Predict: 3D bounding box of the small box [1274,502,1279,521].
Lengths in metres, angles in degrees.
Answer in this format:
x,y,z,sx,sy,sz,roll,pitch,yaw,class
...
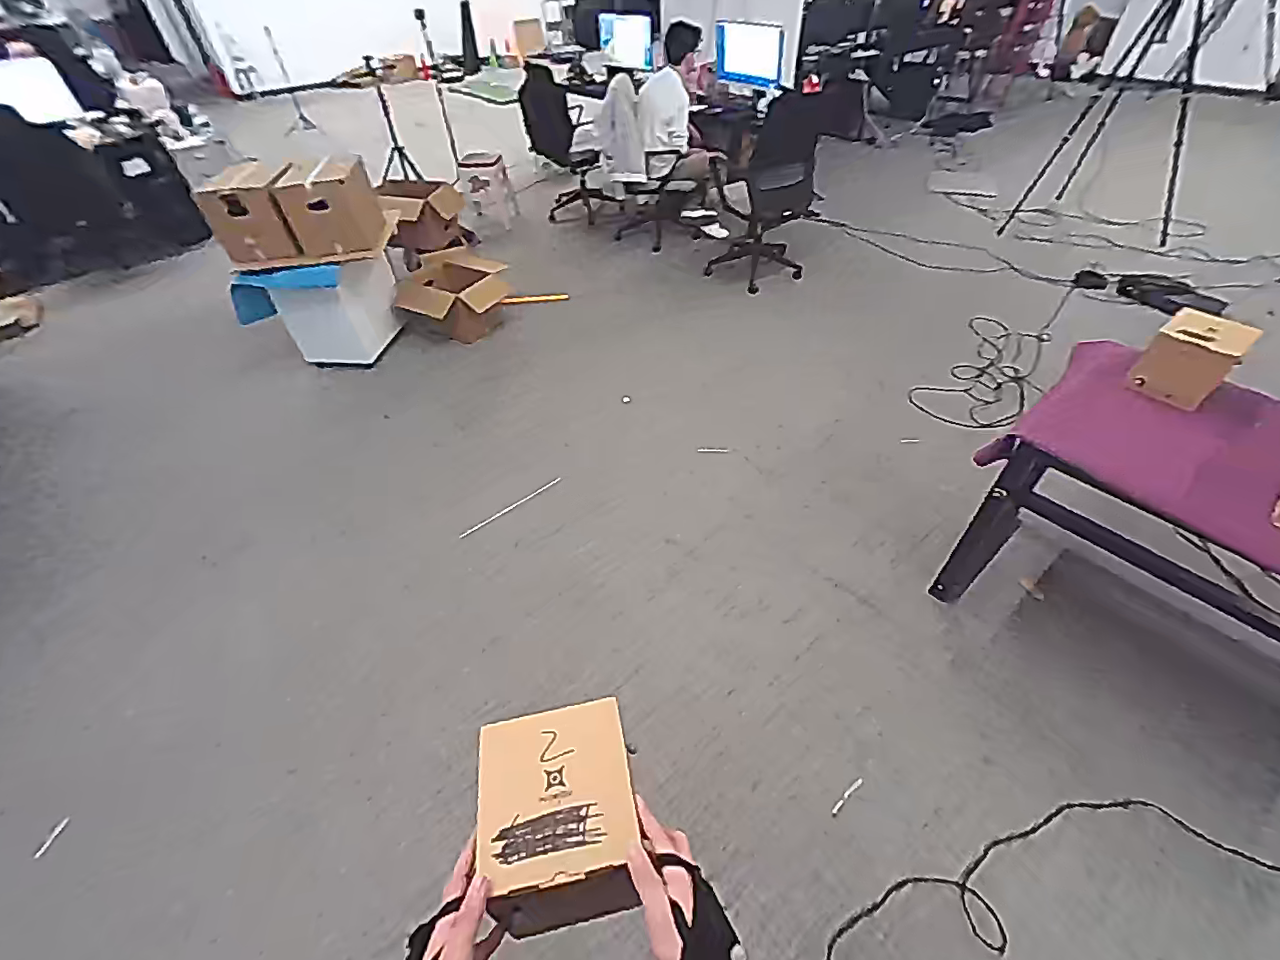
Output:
x,y,z,sx,sy,sz,roll,pitch,yaw,class
1.421,0.030,1.057,0.179,0.176,0.168,-33,53,-26,small box

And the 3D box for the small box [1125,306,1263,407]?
x,y,z,sx,sy,sz,roll,pitch,yaw,class
1.414,-0.316,1.394,0.179,0.176,0.168,-31,52,-23,small box
